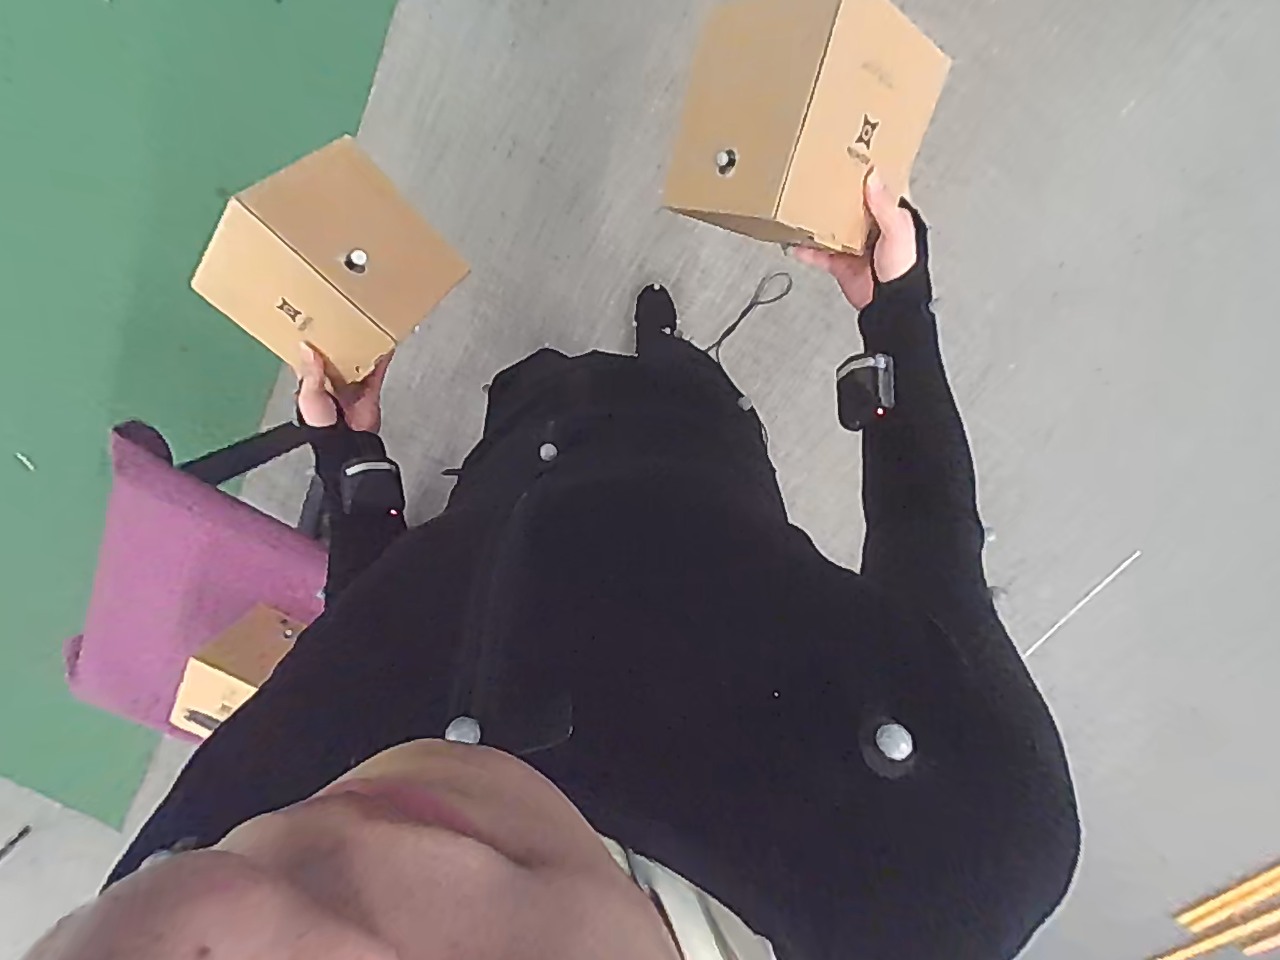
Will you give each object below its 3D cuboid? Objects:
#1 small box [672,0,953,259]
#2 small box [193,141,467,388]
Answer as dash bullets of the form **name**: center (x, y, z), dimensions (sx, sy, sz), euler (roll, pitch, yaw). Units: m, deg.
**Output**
- **small box**: center (0.154, -0.336, 0.529), dimensions (0.168, 0.176, 0.179), euler (-1, 116, -38)
- **small box**: center (-0.335, -0.243, 0.608), dimensions (0.168, 0.176, 0.179), euler (-18, 128, 39)
